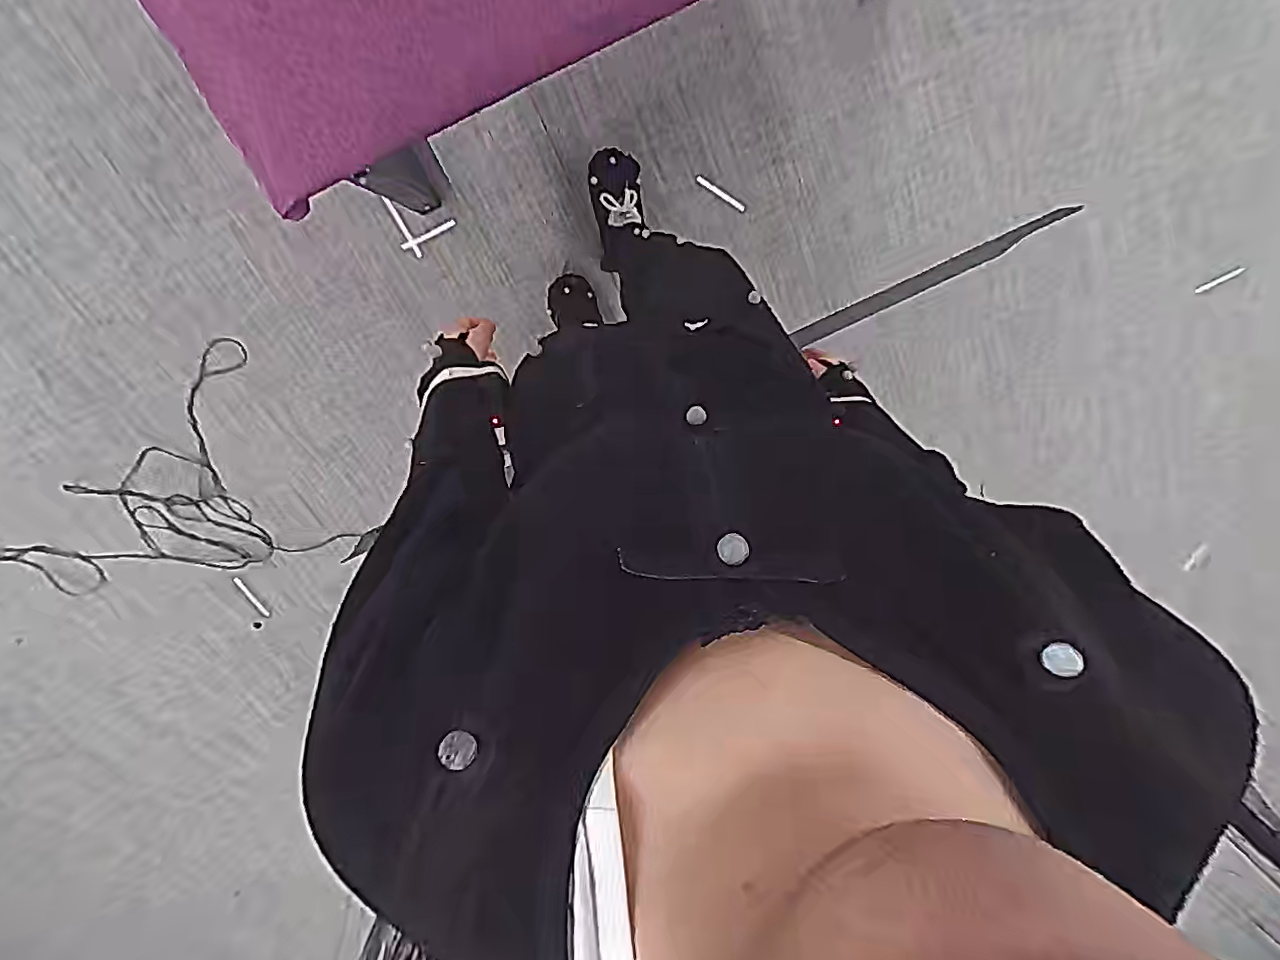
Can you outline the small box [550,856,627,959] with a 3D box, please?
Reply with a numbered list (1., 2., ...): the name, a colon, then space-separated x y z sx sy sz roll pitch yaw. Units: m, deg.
1. small box: -0.151 1.239 1.564 0.168 0.176 0.179 20 105 -16
